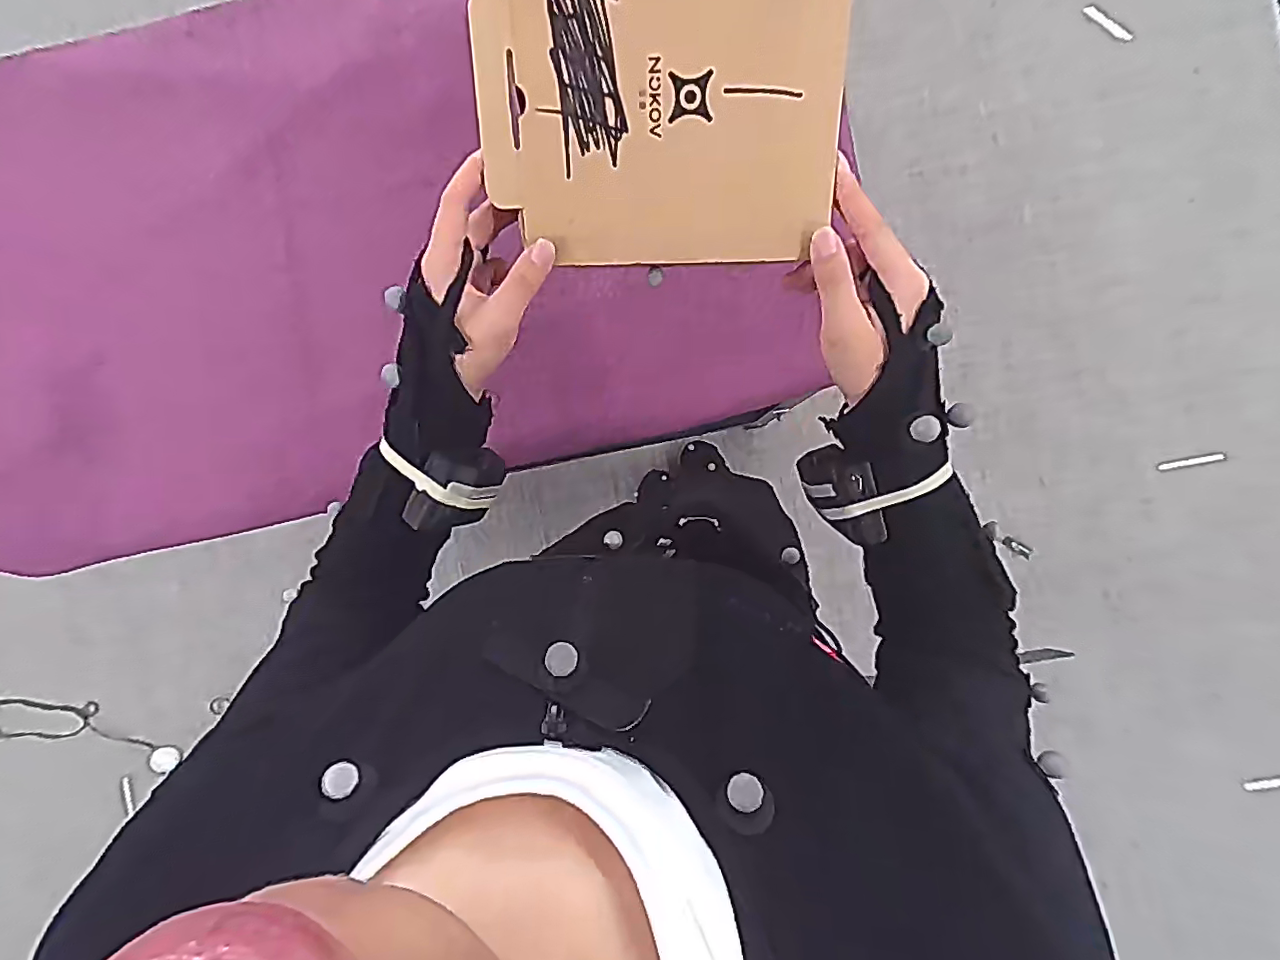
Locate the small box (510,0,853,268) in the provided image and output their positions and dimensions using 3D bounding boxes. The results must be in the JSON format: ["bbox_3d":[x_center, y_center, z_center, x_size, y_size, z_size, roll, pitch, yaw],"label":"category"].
[{"bbox_3d":[0.025,-0.232,0.360,0.179,0.176,0.168,0,111,3],"label":"small box"}]
